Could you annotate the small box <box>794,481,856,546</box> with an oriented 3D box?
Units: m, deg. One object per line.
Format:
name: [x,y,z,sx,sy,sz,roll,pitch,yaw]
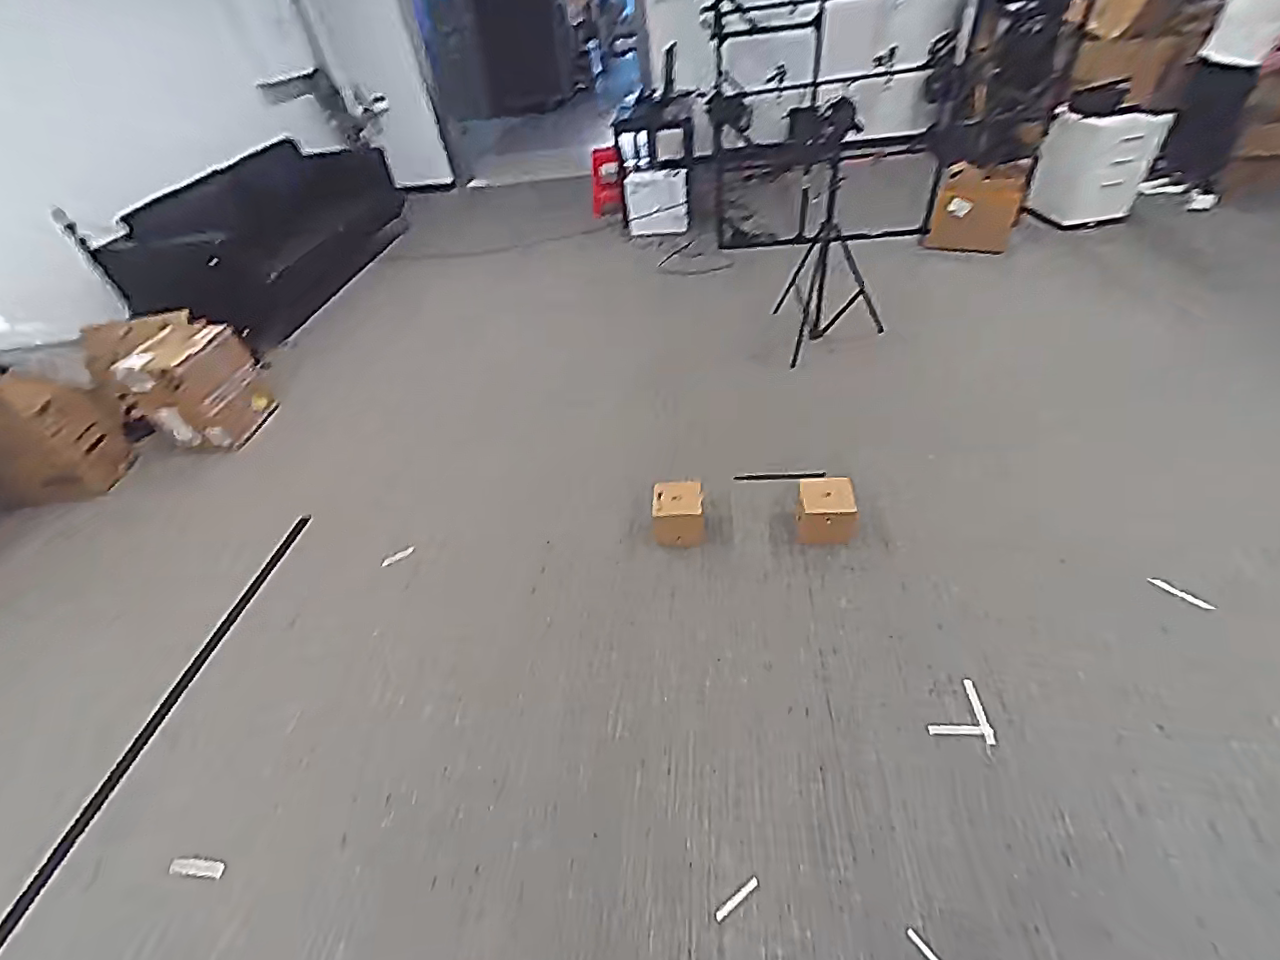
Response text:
small box: [0.648,0.123,1.917,0.179,0.176,0.168,-2,44,7]

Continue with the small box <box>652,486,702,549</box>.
small box: [0.141,0.141,1.984,0.179,0.176,0.168,-2,43,7]
